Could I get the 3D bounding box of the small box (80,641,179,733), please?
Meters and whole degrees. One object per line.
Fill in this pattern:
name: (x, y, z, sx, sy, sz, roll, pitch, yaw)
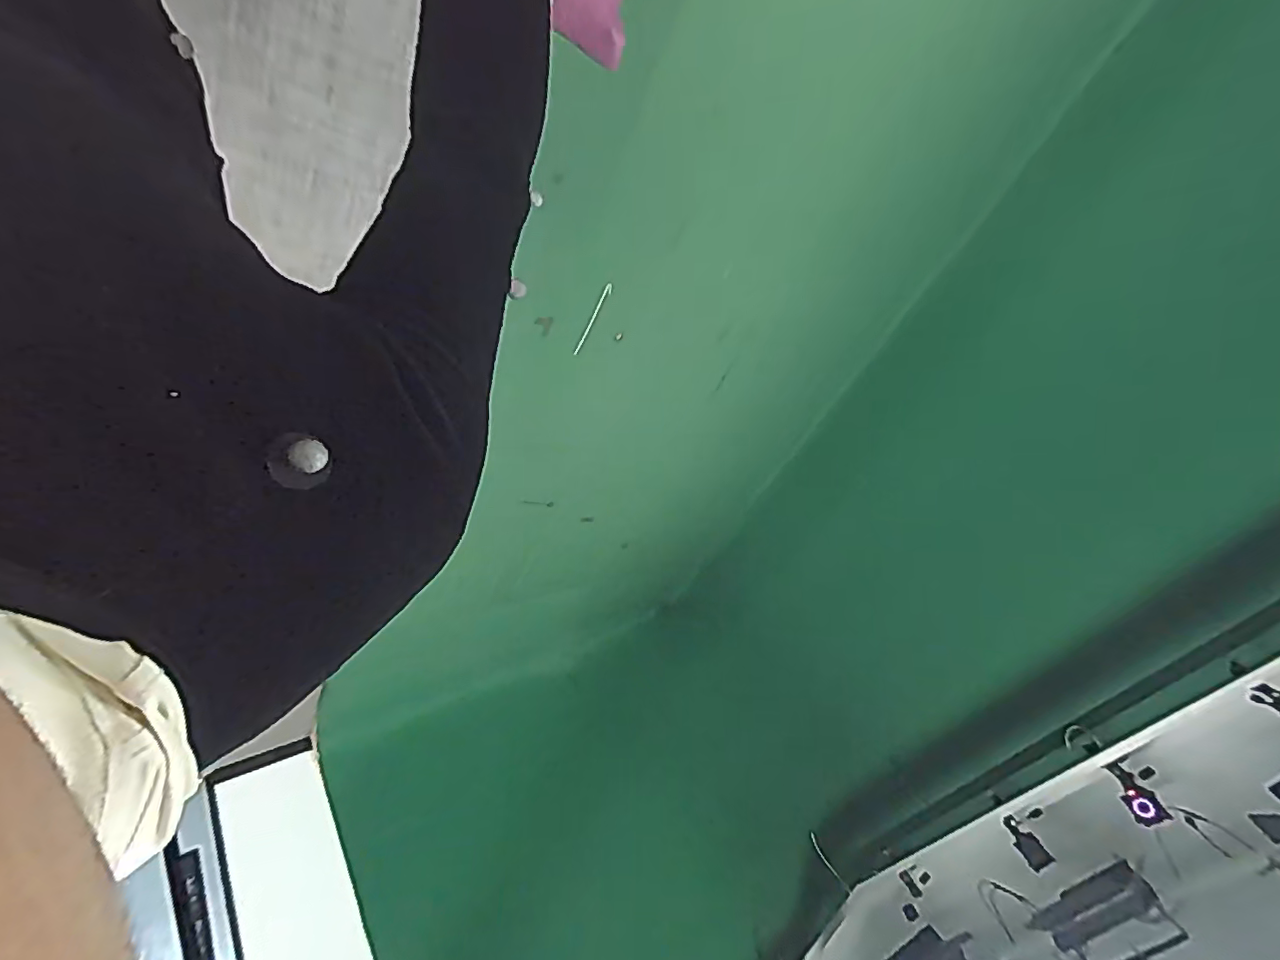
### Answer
small box: (-1.457, 0.580, 1.542, 0.179, 0.176, 0.168, 6, 128, -53)
